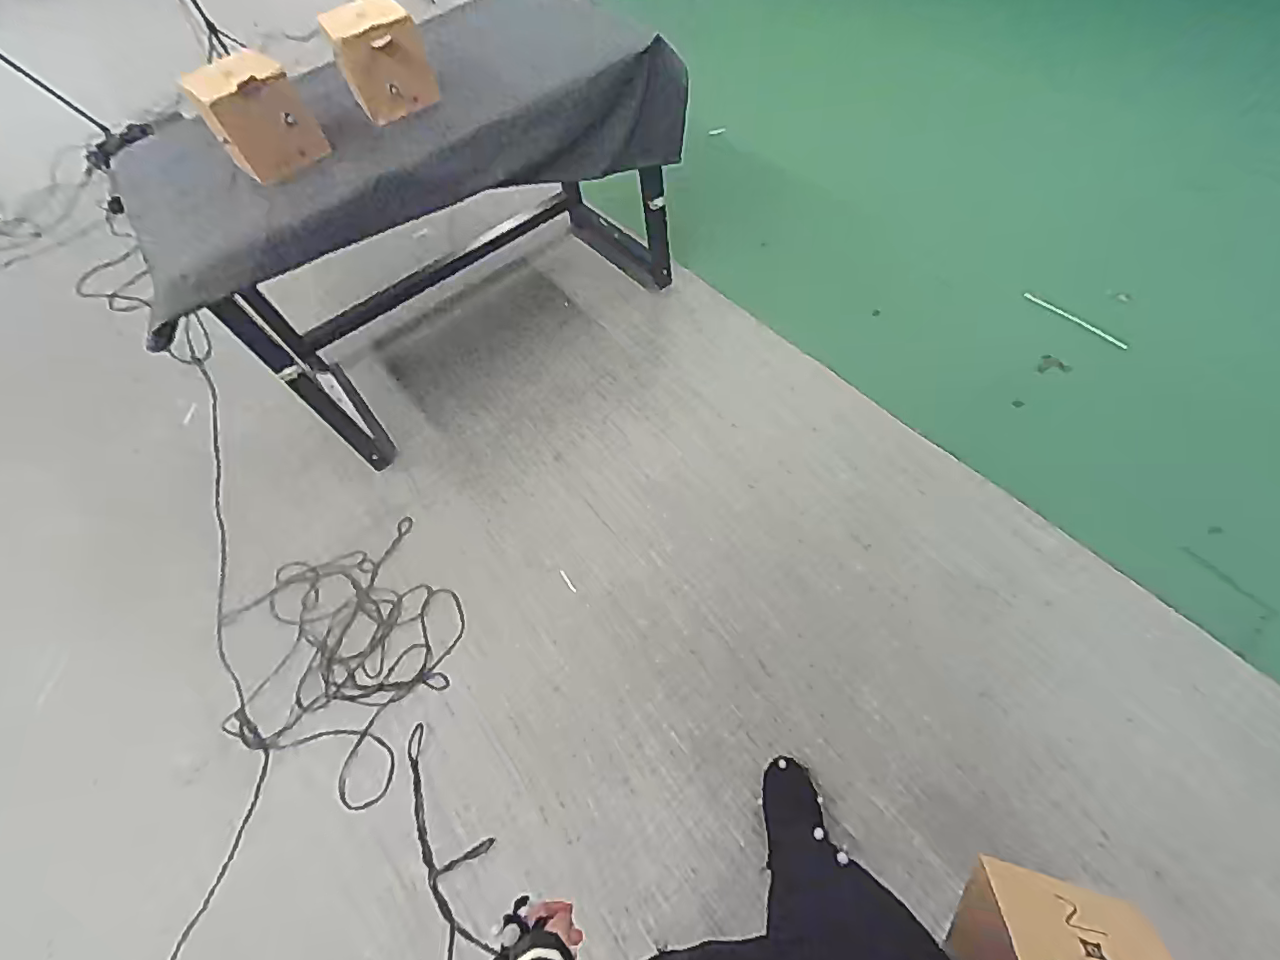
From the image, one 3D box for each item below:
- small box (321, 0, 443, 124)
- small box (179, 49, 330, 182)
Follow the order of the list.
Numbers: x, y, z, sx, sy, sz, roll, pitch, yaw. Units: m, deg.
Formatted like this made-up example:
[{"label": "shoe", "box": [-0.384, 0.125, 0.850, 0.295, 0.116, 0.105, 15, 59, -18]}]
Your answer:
[{"label": "small box", "box": [-0.575, -0.942, 1.217, 0.168, 0.176, 0.179, -30, 60, -12]}, {"label": "small box", "box": [-0.798, -0.760, 1.135, 0.179, 0.176, 0.168, 38, 69, 27]}]
